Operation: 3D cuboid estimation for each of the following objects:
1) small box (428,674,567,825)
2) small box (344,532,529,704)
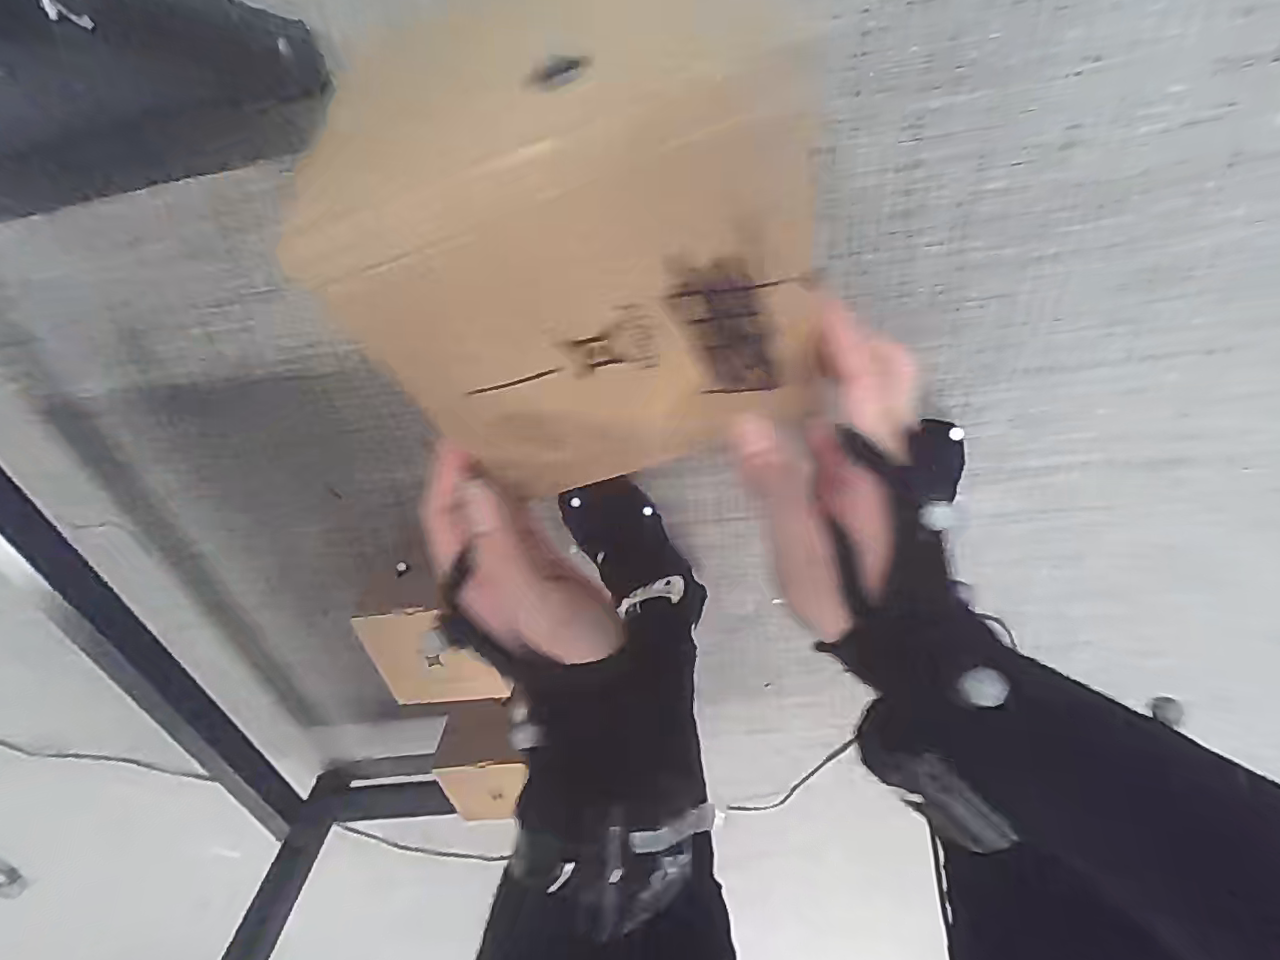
[{"bbox_3d":[-0.231,0.463,0.936,0.168,0.176,0.179,-8,120,7],"label":"small box"},{"bbox_3d":[-0.271,0.187,0.767,0.168,0.176,0.179,-6,122,7],"label":"small box"}]
